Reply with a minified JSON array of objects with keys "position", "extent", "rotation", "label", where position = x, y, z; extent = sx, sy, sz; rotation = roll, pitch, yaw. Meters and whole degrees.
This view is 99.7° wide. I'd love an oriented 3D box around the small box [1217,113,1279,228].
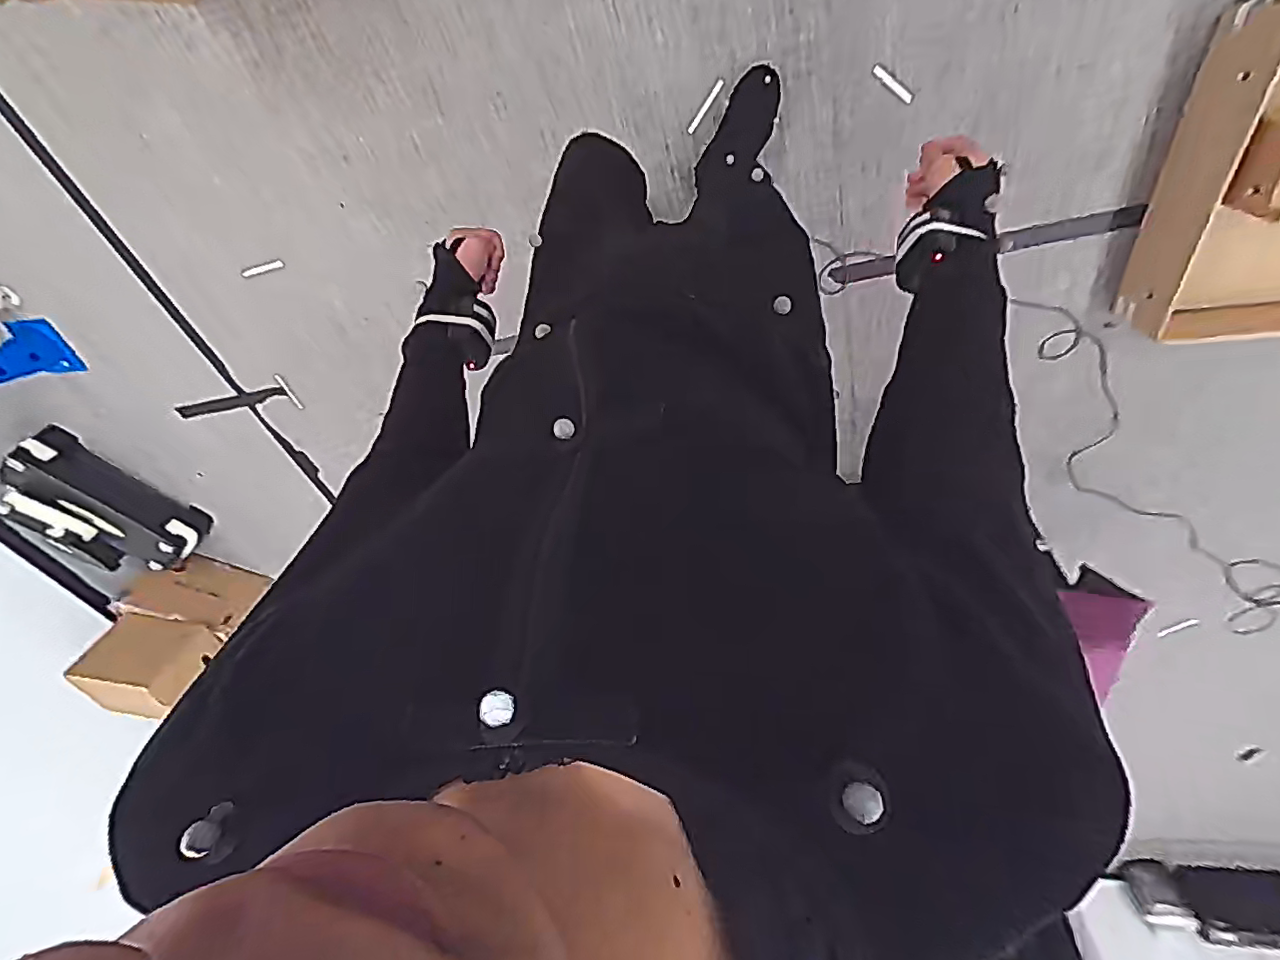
[{"position":[1.288,-0.608,1.036],"extent":[0.179,0.176,0.168],"rotation":[-7,129,15],"label":"small box"}]
